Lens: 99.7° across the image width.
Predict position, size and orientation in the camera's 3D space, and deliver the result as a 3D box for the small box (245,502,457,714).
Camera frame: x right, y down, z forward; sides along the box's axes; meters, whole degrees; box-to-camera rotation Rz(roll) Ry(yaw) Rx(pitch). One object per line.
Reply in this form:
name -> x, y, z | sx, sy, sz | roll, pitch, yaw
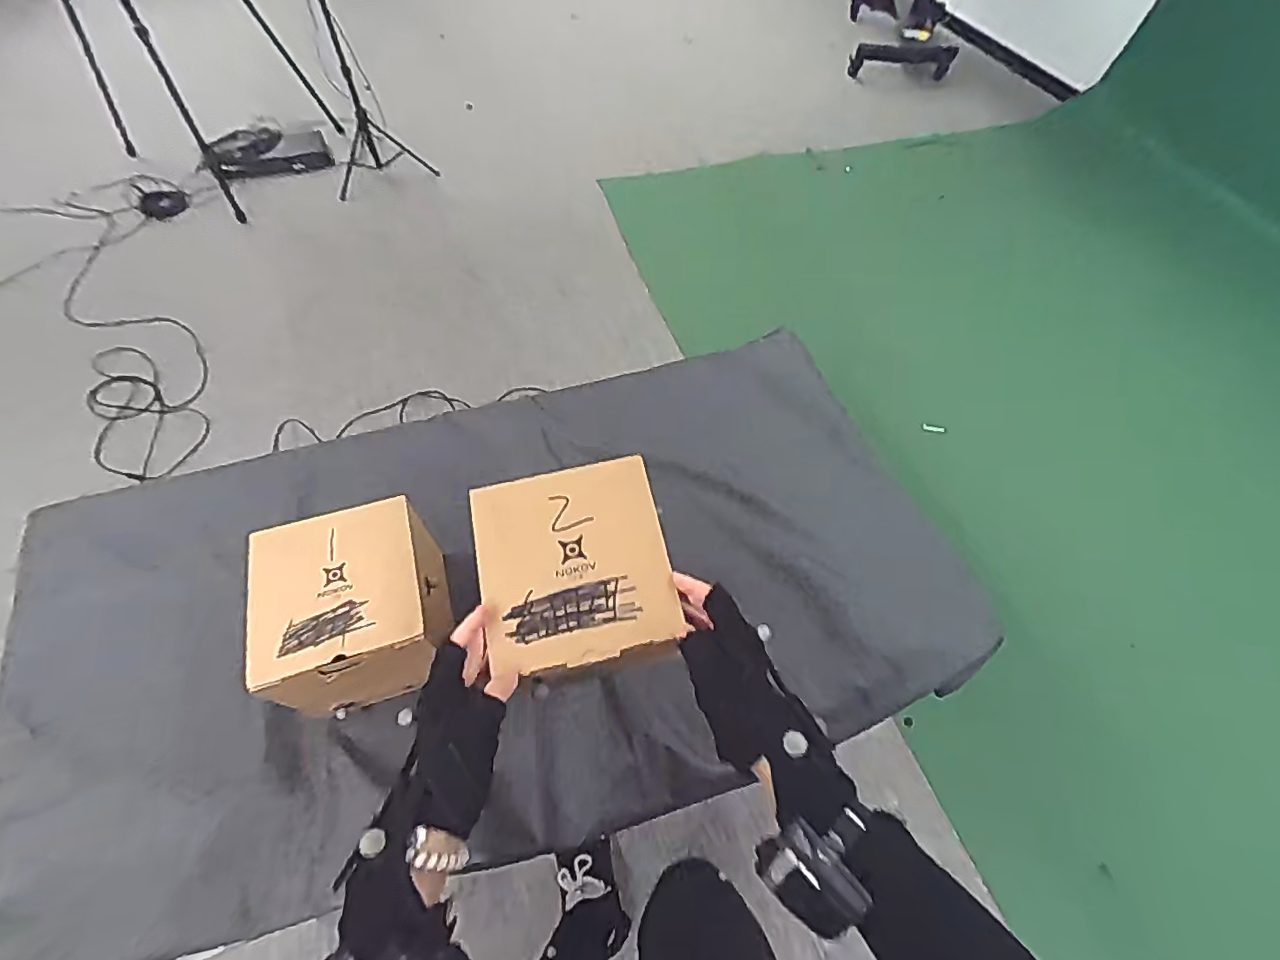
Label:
small box -> -0.324, 0.157, 0.631 | 0.168, 0.176, 0.179 | -15, 59, -13
